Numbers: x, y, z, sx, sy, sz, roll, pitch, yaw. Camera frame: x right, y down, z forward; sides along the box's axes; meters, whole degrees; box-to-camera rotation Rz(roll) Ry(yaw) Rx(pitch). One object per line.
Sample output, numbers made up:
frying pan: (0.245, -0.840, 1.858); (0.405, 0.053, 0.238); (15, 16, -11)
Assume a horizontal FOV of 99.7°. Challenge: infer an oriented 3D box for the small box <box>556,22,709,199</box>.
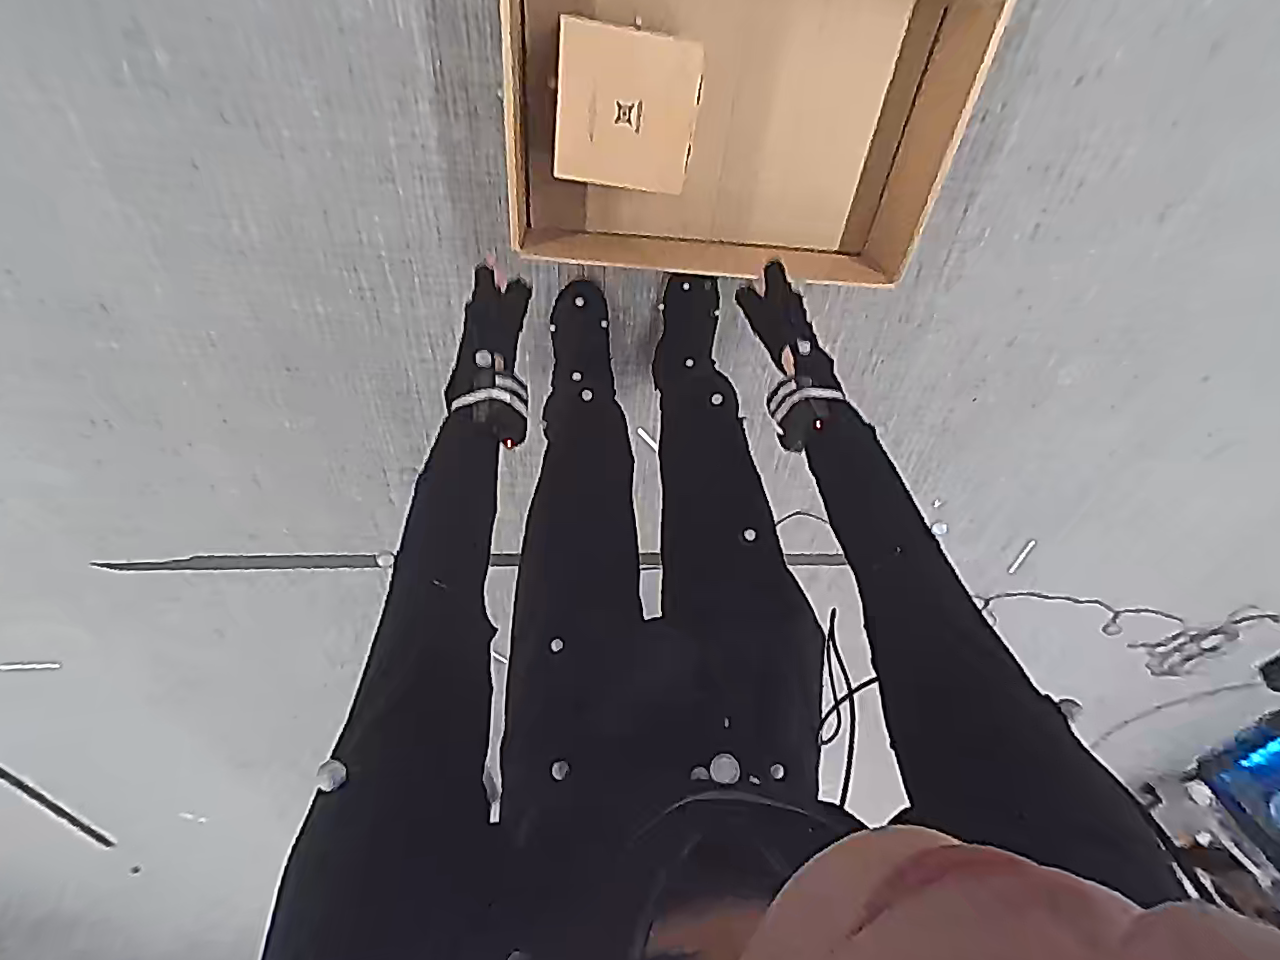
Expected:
small box: (-0.022, -0.505, 0.741); (0.179, 0.176, 0.168); (4, 127, -9)
